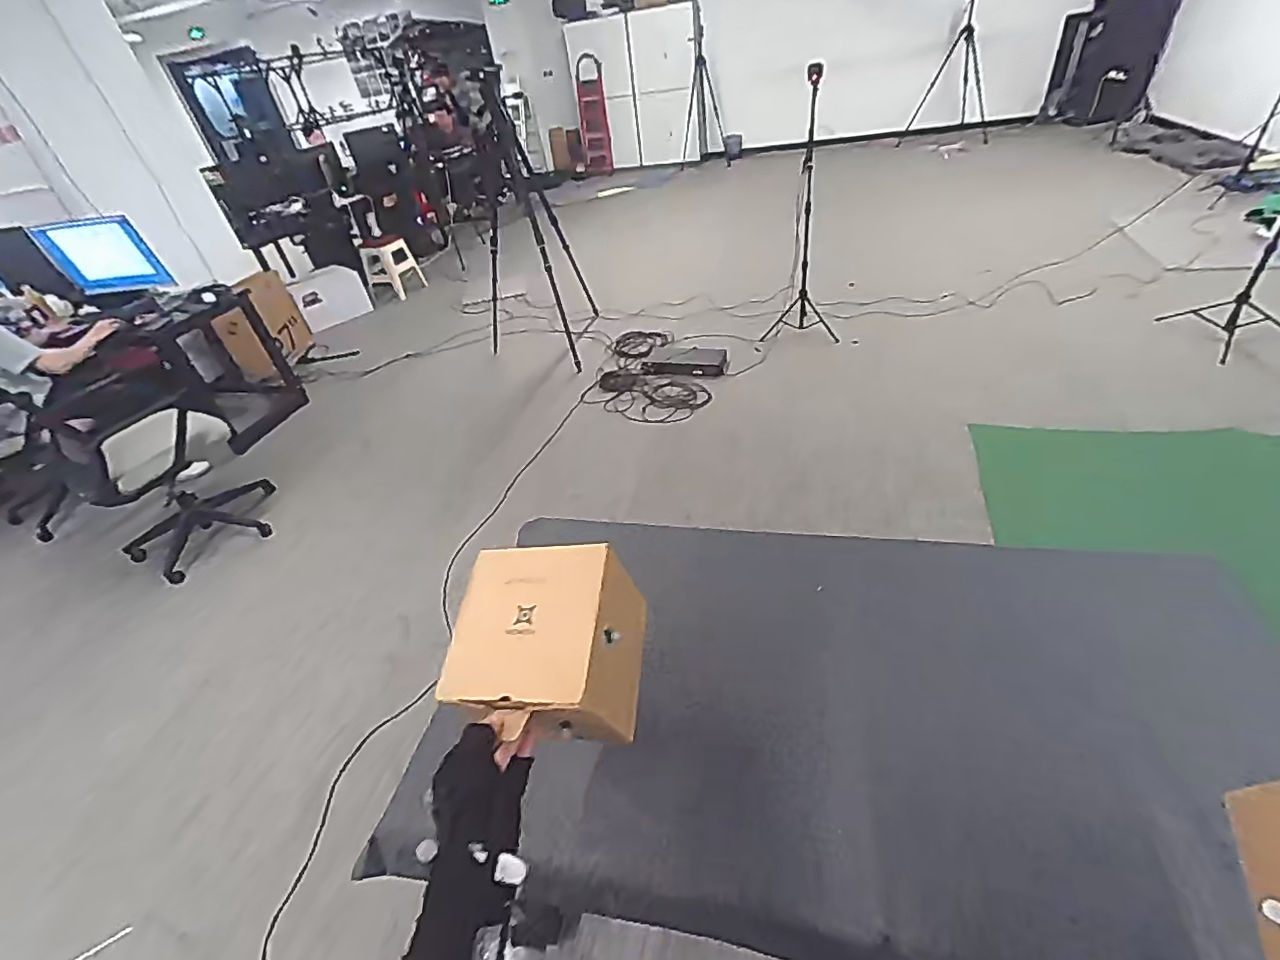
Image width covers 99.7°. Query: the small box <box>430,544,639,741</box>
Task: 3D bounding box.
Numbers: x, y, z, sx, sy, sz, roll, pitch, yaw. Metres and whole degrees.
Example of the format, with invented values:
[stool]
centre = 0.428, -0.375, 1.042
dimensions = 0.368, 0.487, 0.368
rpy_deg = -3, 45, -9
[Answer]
[small box]
centre = -0.105, 0.193, 0.629
dimensions = 0.168, 0.176, 0.179
rpy_deg = -4, 52, 15
